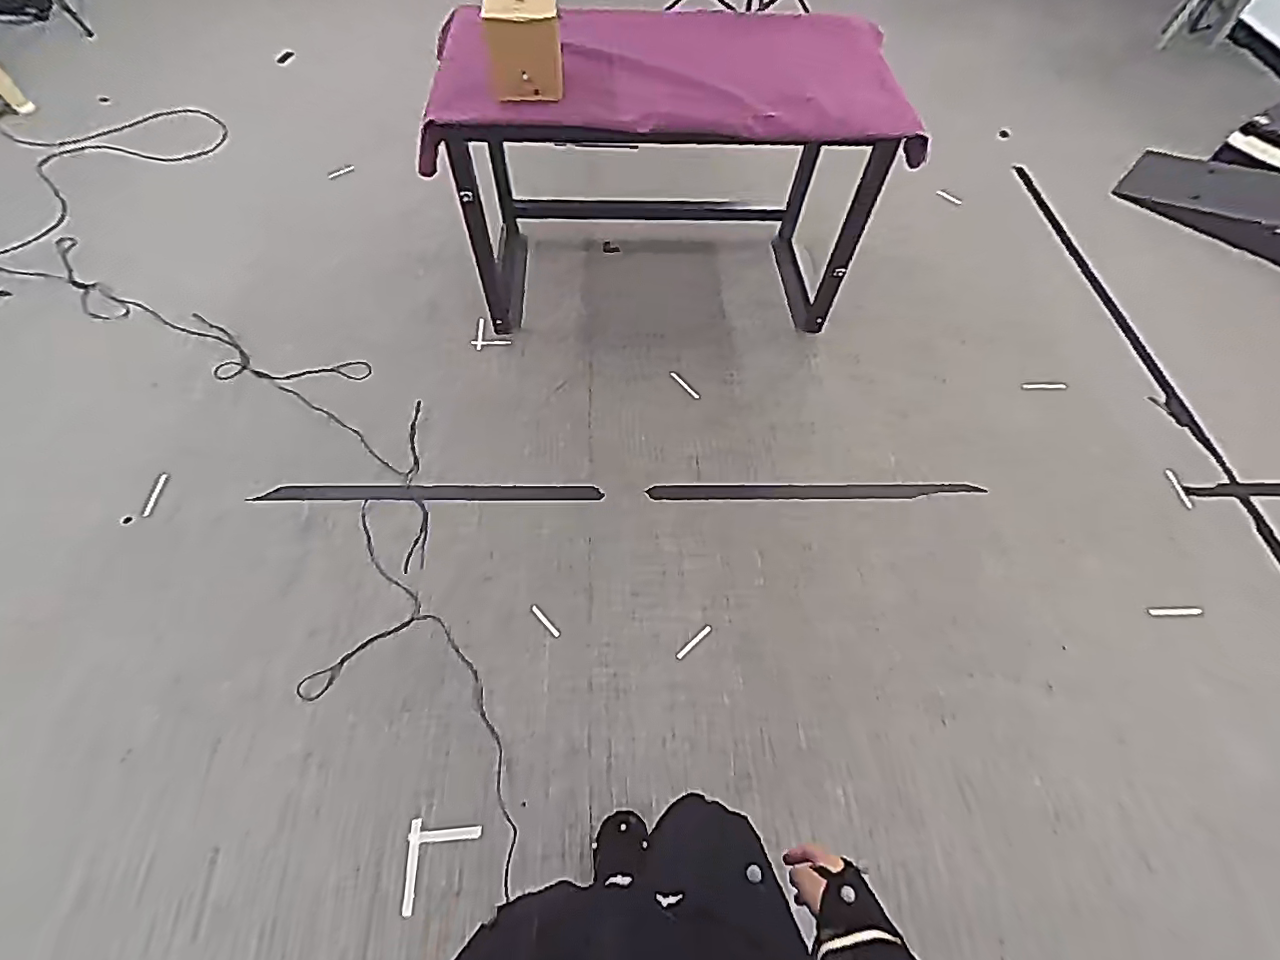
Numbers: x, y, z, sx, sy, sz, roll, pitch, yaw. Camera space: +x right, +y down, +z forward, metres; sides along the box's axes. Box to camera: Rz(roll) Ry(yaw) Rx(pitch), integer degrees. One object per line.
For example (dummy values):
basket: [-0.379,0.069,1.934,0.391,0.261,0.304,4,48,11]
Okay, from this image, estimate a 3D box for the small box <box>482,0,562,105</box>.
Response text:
small box: [-0.280,-1.049,1.318,0.168,0.176,0.179,-3,60,-4]
